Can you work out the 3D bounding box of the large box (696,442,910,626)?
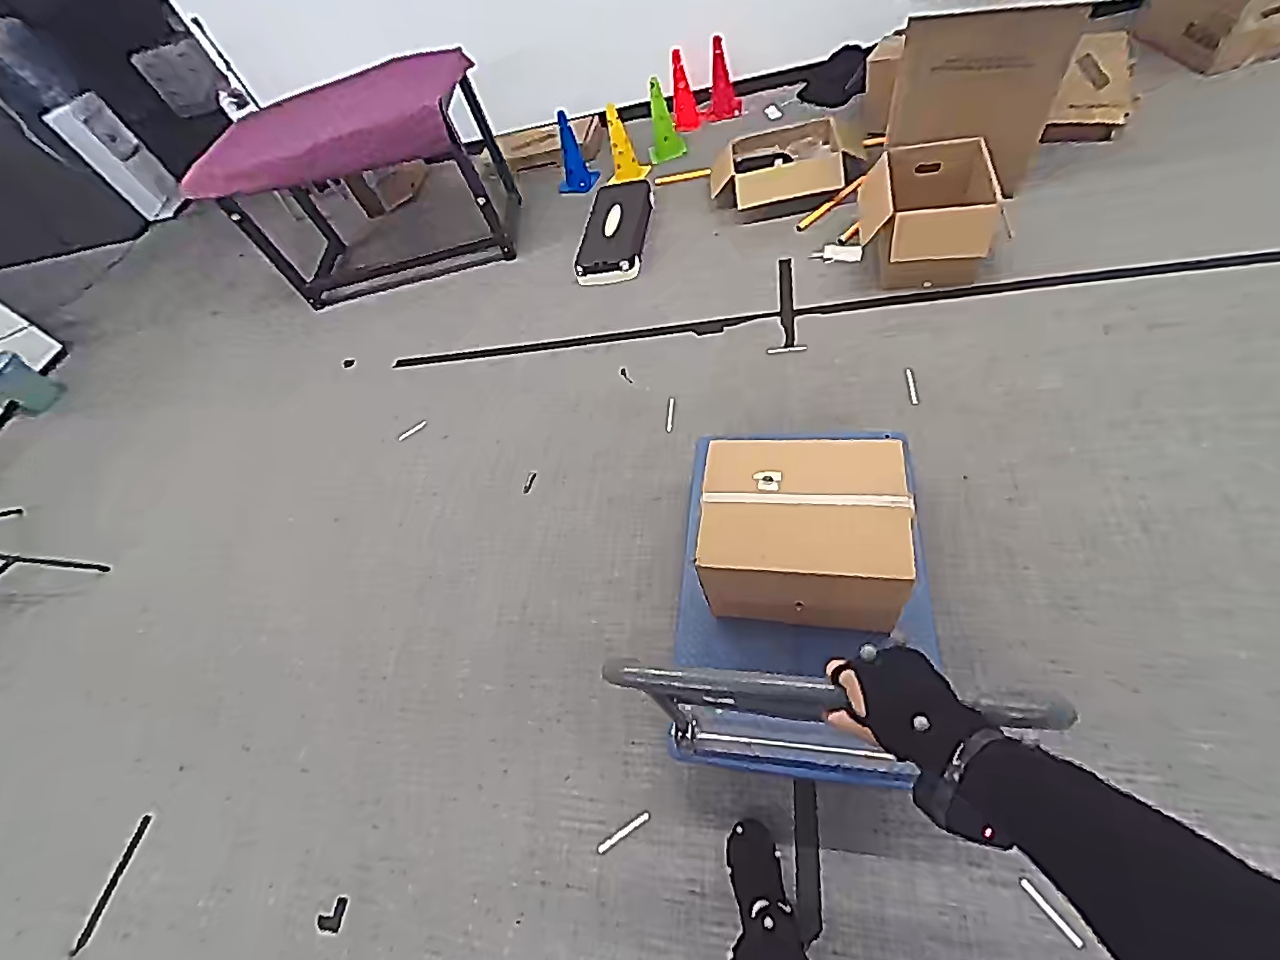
[{"bbox_3d":[0.364,0.130,1.238,0.408,0.320,0.320,0,57,17],"label":"large box"}]
